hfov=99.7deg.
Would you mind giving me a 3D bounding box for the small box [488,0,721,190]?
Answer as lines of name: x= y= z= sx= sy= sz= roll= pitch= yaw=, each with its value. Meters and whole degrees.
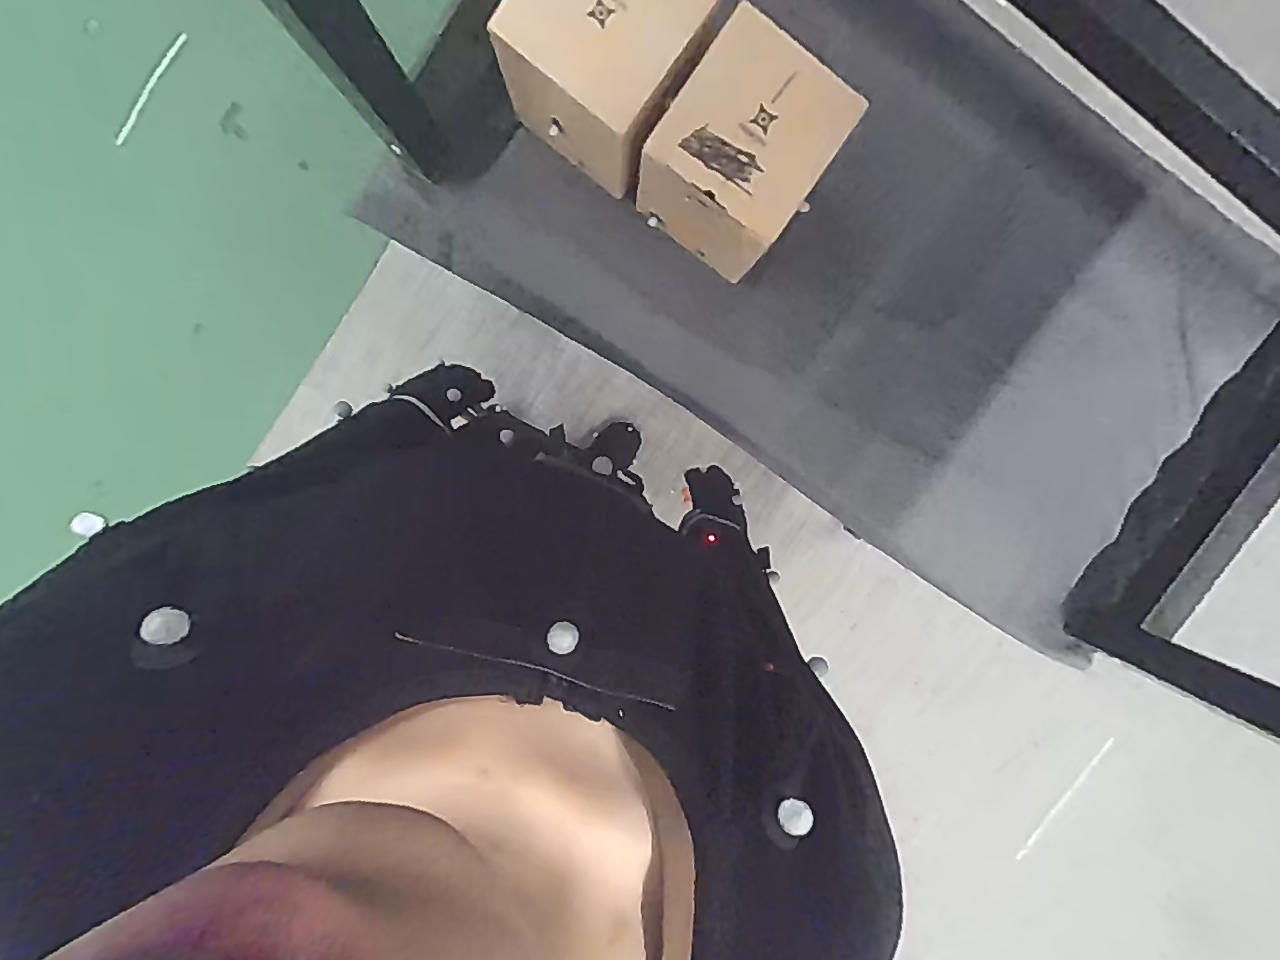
small box: x=-0.035 y=-0.466 z=0.599 sx=0.168 sy=0.176 sz=0.179 roll=37 pitch=94 yaw=-8
